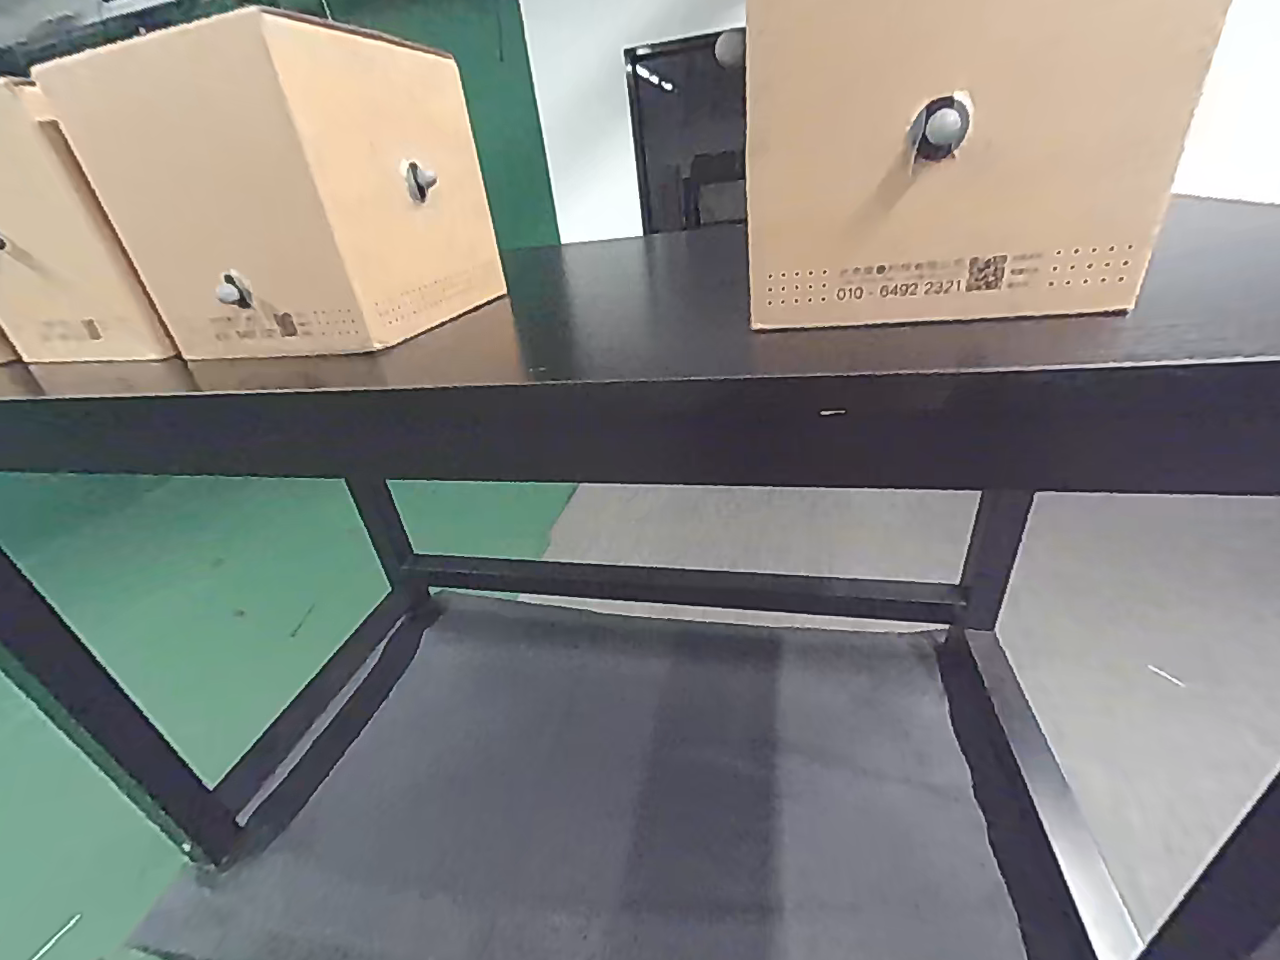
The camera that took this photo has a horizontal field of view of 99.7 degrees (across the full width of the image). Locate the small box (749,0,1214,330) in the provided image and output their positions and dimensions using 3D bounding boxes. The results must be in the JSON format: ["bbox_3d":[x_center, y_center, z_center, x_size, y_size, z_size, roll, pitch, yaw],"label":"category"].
[{"bbox_3d":[0.151,-0.182,0.290,0.168,0.176,0.179,2,30,16],"label":"small box"}]

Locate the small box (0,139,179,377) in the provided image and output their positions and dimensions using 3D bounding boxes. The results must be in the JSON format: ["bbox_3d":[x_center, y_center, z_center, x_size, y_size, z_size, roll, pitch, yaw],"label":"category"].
[{"bbox_3d":[-0.577,-0.201,0.490,0.168,0.176,0.179,1,31,13],"label":"small box"}]
